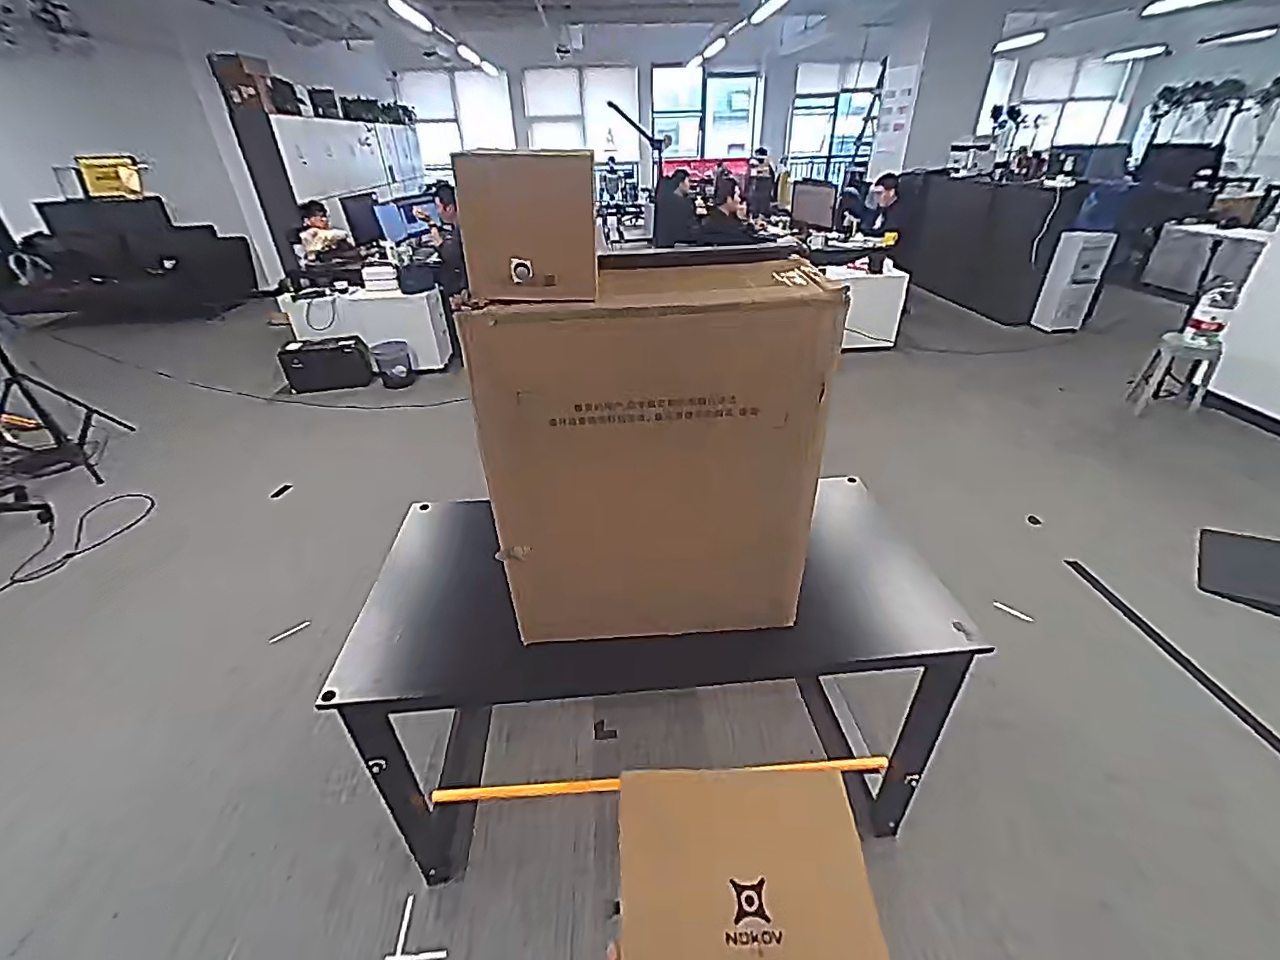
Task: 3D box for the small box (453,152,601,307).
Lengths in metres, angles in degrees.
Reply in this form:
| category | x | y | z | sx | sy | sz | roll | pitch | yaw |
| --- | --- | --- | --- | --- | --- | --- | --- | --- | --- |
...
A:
| category | x | y | z | sx | sy | sz | roll | pitch | yaw |
| --- | --- | --- | --- | --- | --- | --- | --- | --- | --- |
| small box | -0.140 | -0.341 | 0.731 | 0.168 | 0.176 | 0.179 | -3 | 34 | -4 |

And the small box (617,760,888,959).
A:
| category | x | y | z | sx | sy | sz | roll | pitch | yaw |
| --- | --- | --- | --- | --- | --- | --- | --- | --- | --- |
| small box | 0.067 | 0.330 | 0.401 | 0.168 | 0.176 | 0.179 | 0 | 45 | -1 |
